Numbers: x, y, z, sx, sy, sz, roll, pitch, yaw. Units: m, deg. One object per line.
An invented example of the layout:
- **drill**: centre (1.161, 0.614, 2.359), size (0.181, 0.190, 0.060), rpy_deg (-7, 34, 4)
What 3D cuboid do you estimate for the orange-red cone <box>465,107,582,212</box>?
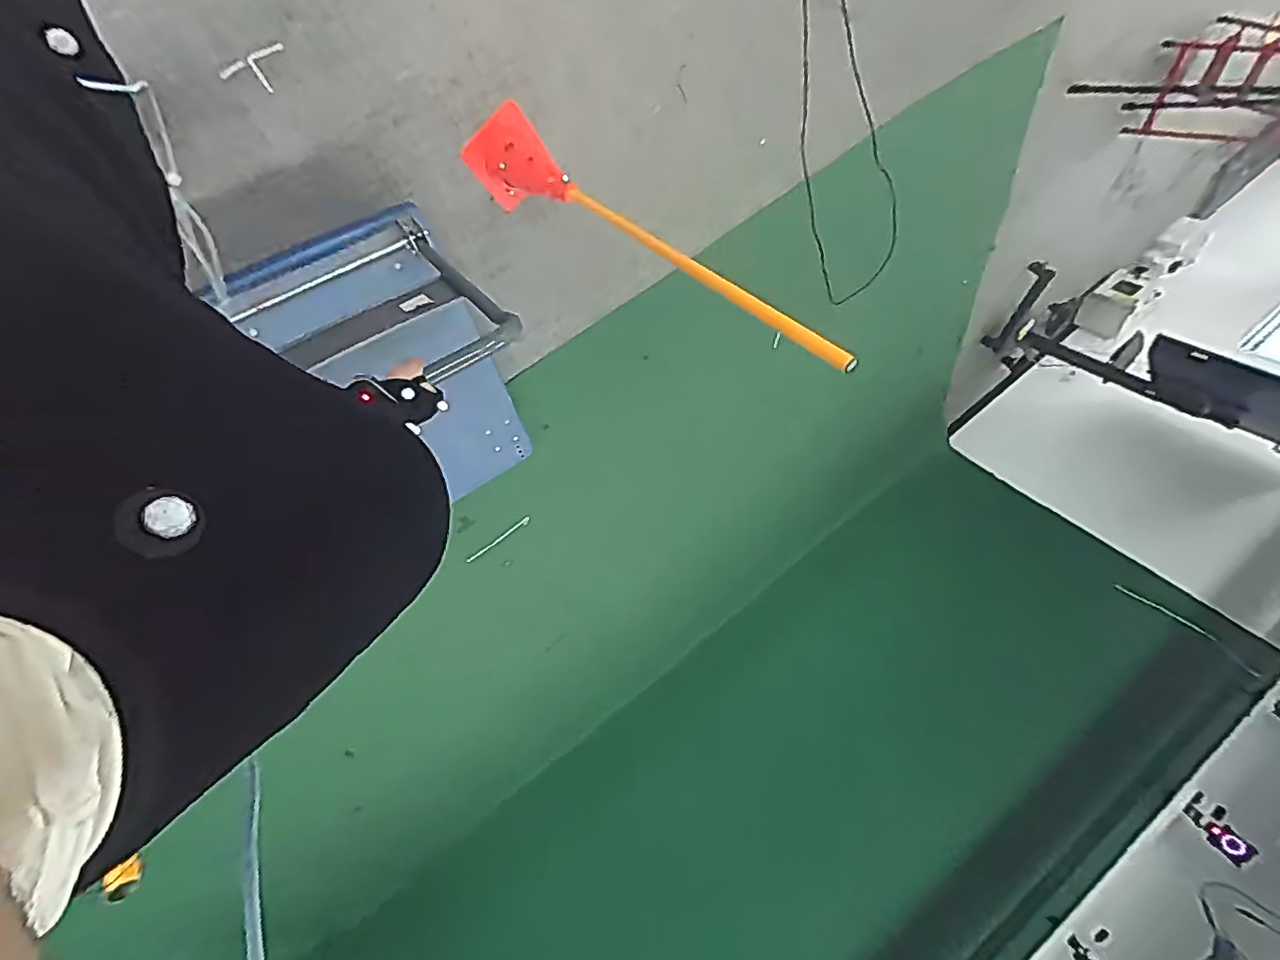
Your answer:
- **orange-red cone**: centre (-0.252, -0.762, 1.359), size (0.199, 0.360, 0.198), rpy_deg (-46, 145, 1)
